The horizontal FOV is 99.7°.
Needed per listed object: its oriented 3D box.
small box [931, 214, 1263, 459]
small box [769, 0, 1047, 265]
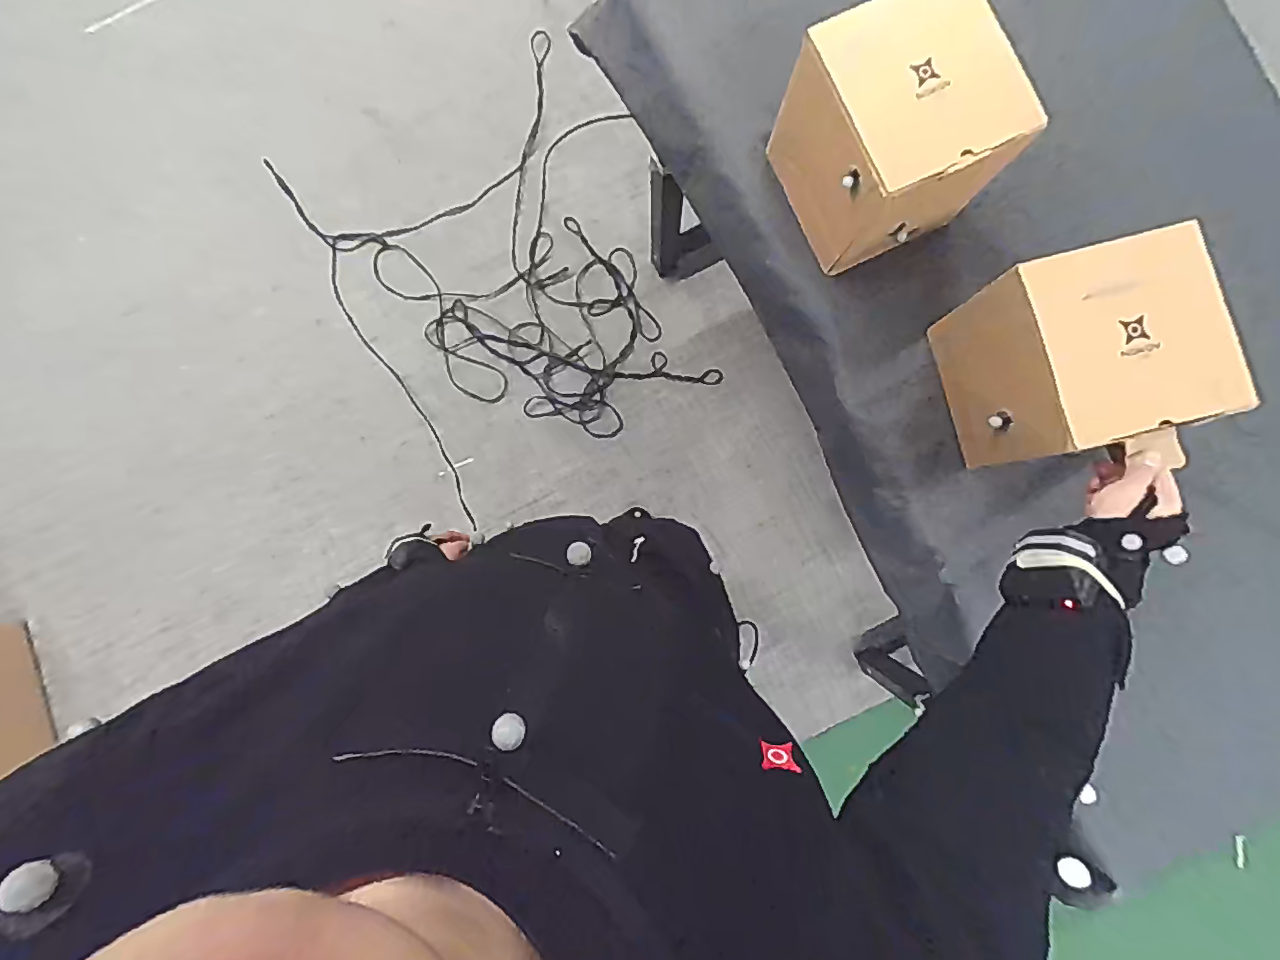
[{"bbox_3d":[0.434,-0.125,0.548,0.168,0.176,0.179,-15,84,1],"label":"small box"},{"bbox_3d":[0.257,-0.364,0.568,0.168,0.176,0.179,-25,88,-2],"label":"small box"}]
